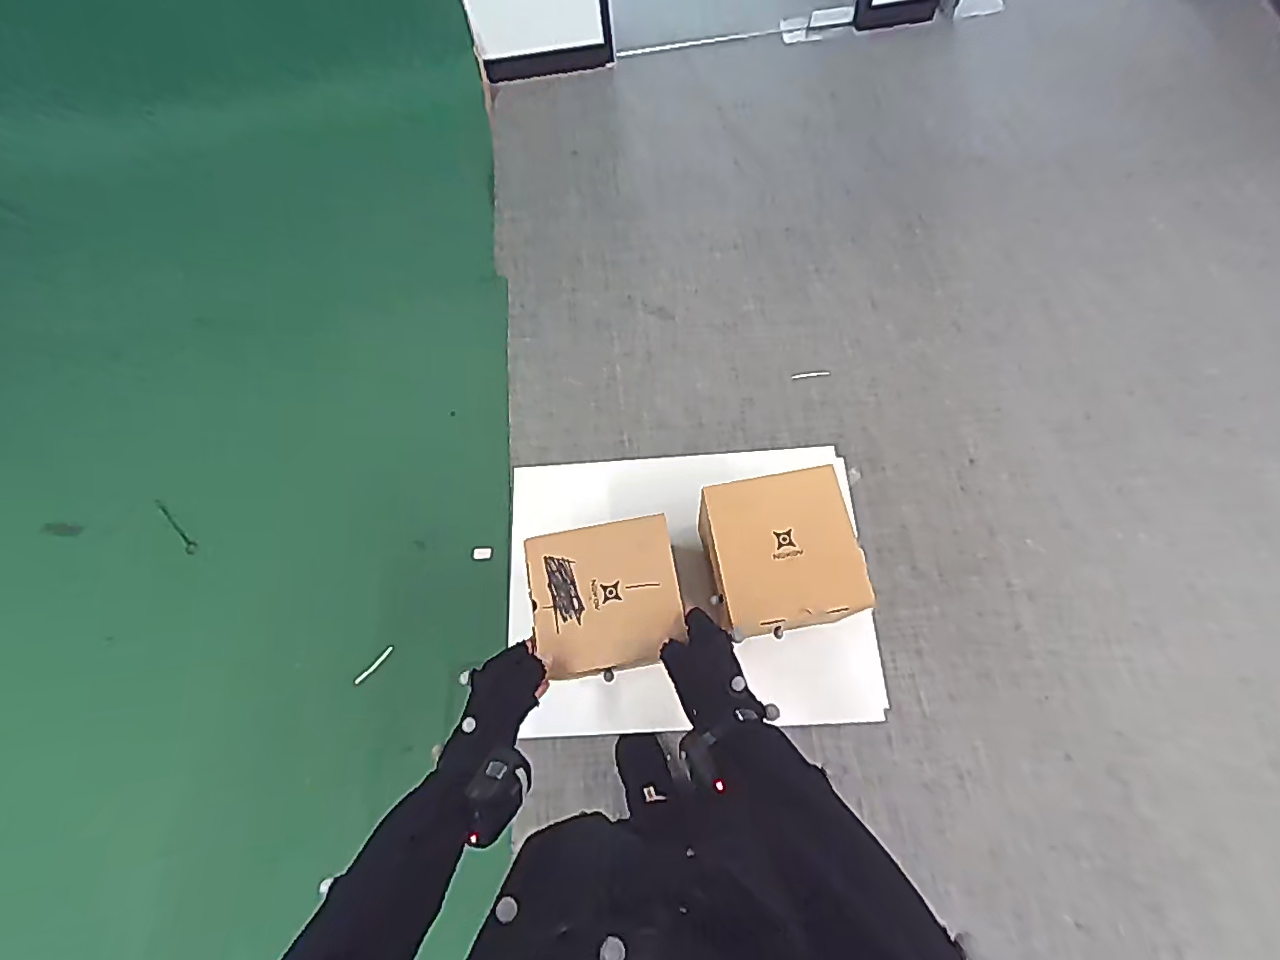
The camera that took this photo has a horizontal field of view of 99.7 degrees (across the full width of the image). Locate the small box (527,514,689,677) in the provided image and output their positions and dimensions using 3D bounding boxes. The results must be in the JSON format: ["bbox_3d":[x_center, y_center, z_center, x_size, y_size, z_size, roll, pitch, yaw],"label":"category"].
[{"bbox_3d":[-0.036,0.158,0.702,0.179,0.176,0.168,-10,69,-1],"label":"small box"}]

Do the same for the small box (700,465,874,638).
[{"bbox_3d":[0.175,0.101,0.709,0.168,0.176,0.179,-10,70,1],"label":"small box"}]
